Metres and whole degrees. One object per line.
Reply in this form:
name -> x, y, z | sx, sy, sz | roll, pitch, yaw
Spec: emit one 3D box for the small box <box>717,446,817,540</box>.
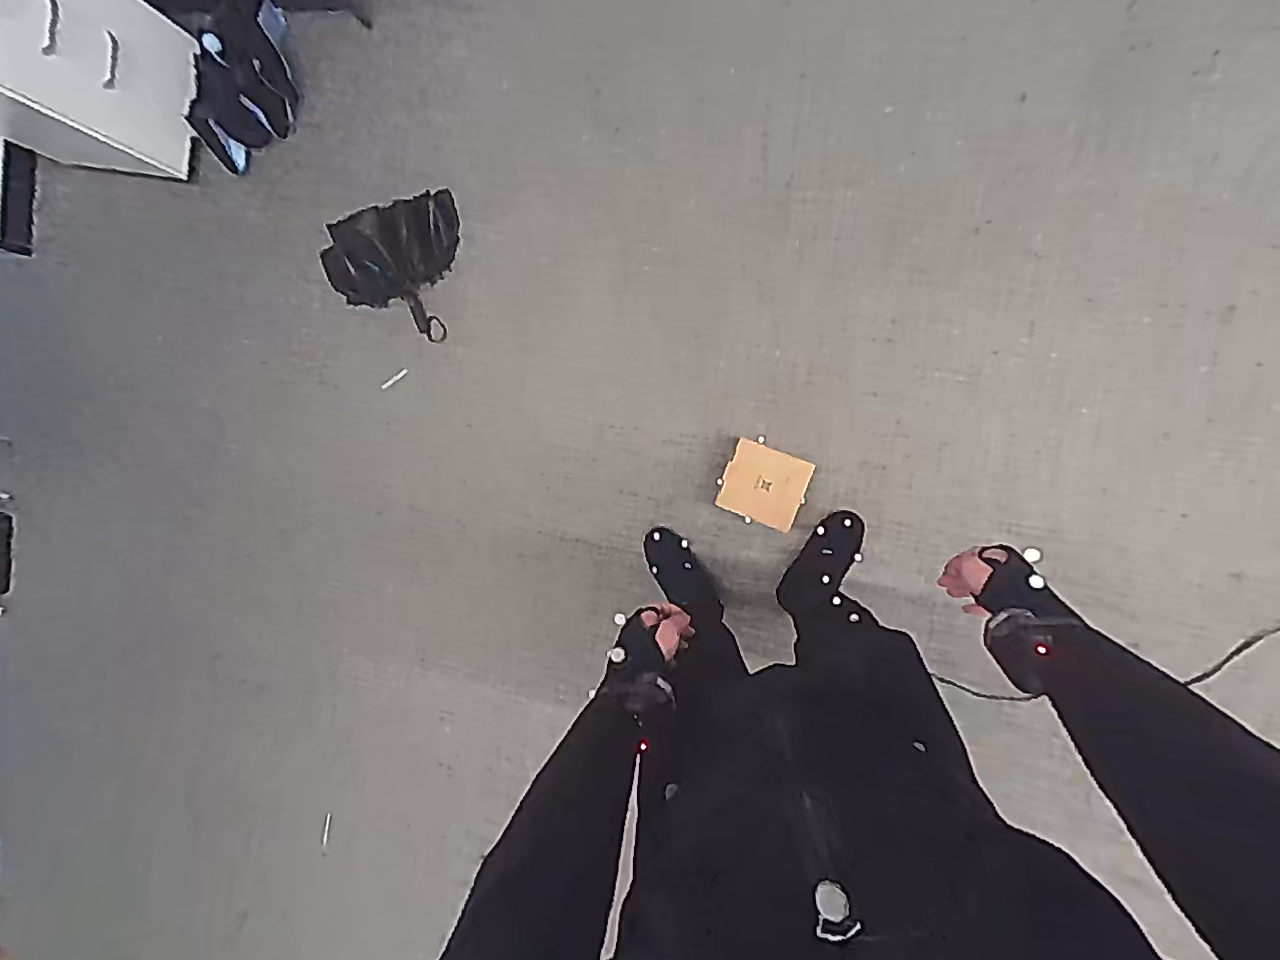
small box -> 0.297, 0.026, 1.280 | 0.179, 0.176, 0.168 | 21, 98, 10
